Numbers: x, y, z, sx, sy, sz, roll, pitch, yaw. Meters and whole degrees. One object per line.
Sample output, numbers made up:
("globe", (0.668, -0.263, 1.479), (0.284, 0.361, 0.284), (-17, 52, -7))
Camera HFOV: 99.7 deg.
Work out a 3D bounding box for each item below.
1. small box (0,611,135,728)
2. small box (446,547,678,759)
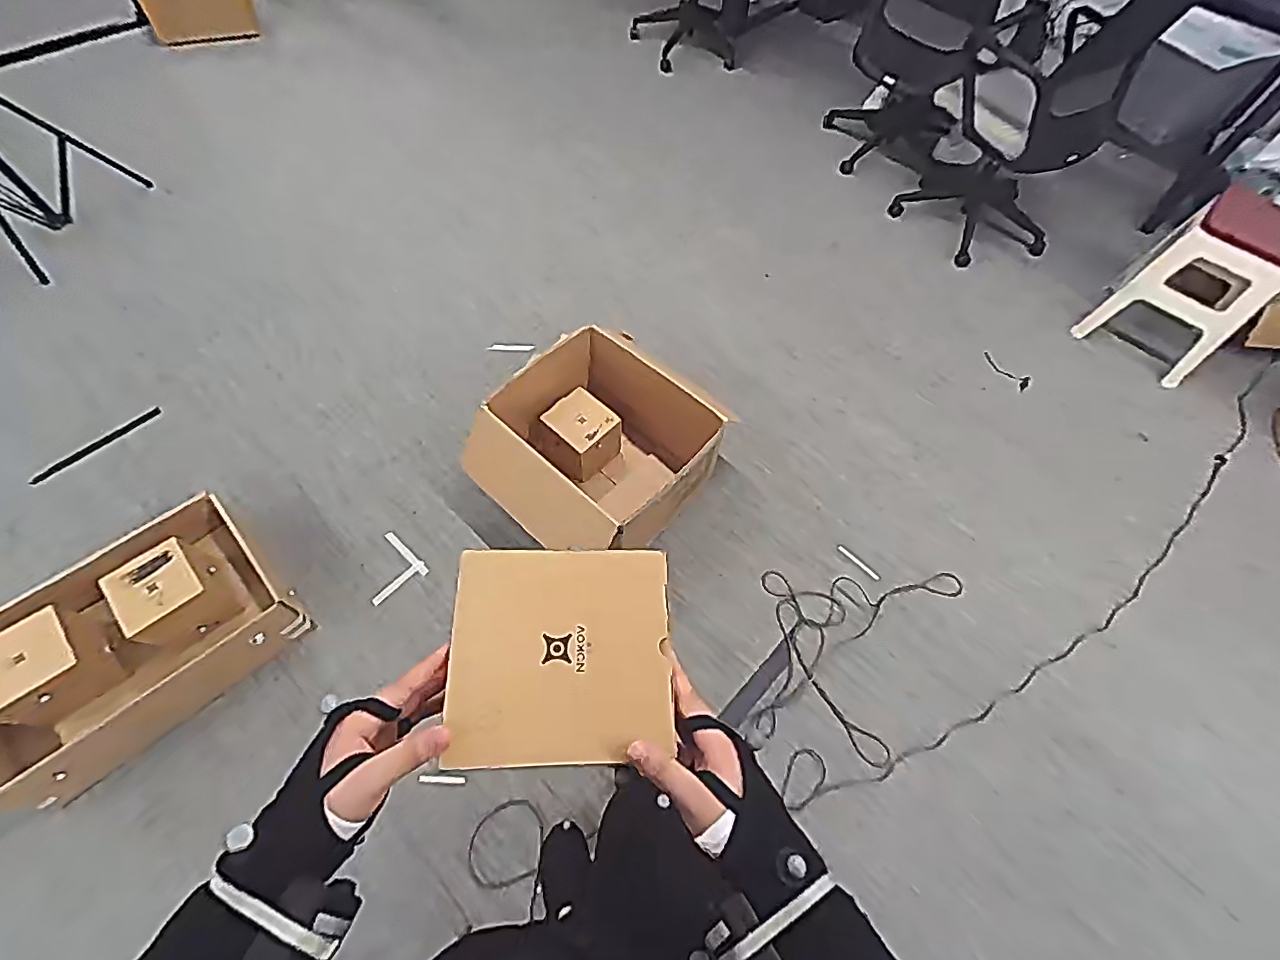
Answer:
("small box", (-1.307, 0.429, 1.210), (0.179, 0.176, 0.168), (-36, 71, -22))
("small box", (-0.068, 0.169, 0.510), (0.179, 0.176, 0.168), (1, 64, -7))
